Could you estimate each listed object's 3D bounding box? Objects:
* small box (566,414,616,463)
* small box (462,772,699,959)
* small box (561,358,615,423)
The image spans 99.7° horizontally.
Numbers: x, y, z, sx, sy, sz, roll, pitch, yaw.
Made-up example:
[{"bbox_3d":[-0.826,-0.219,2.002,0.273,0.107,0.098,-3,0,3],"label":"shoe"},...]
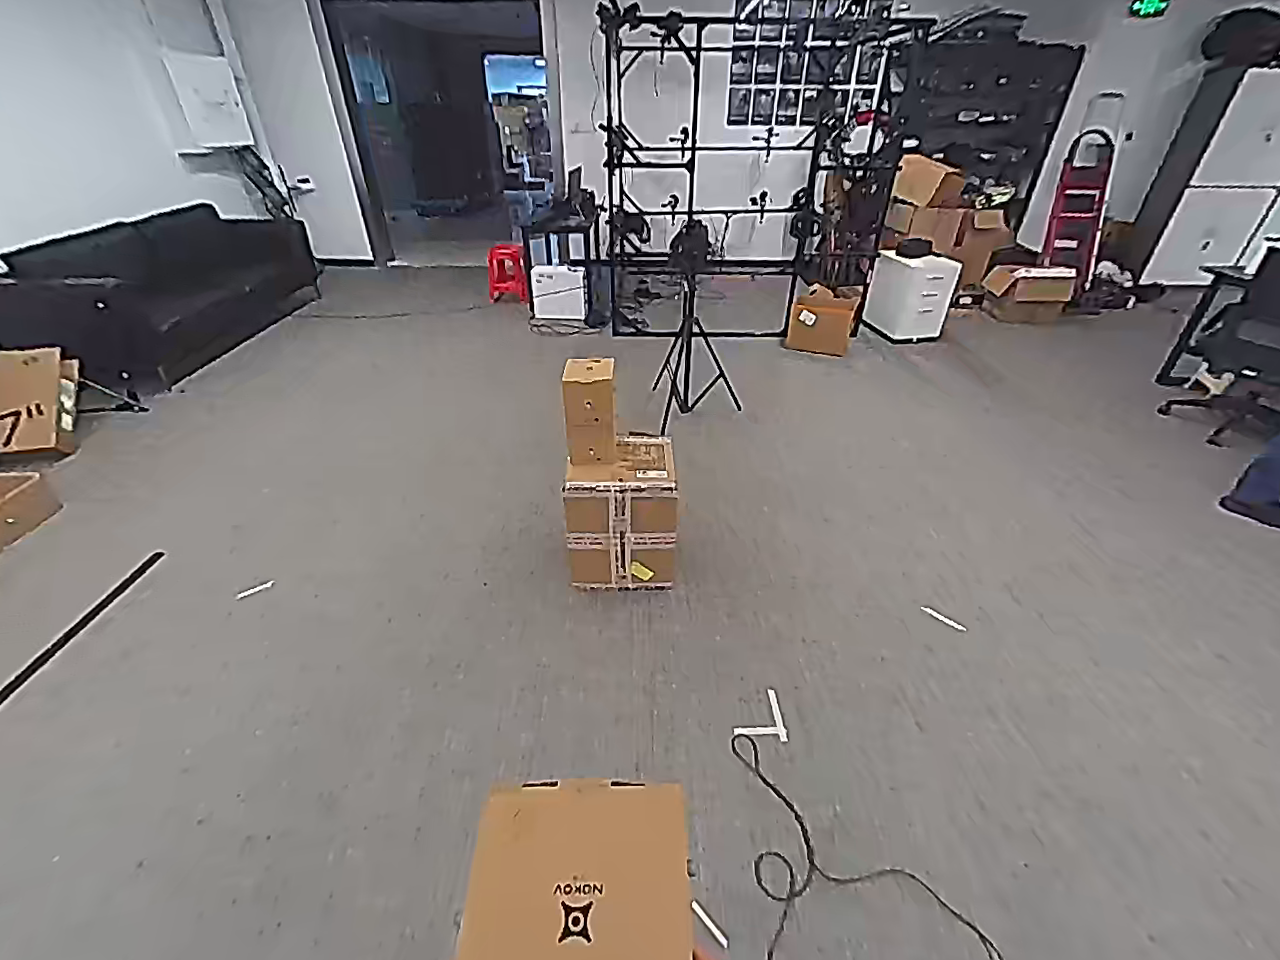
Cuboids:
[{"bbox_3d":[-0.174,-0.177,1.965,0.168,0.176,0.179,-3,37,0],"label":"small box"},{"bbox_3d":[-0.041,0.366,0.448,0.168,0.176,0.179,-1,43,0],"label":"small box"},{"bbox_3d":[-0.173,-0.305,1.861,0.168,0.176,0.179,-1,37,1],"label":"small box"}]
